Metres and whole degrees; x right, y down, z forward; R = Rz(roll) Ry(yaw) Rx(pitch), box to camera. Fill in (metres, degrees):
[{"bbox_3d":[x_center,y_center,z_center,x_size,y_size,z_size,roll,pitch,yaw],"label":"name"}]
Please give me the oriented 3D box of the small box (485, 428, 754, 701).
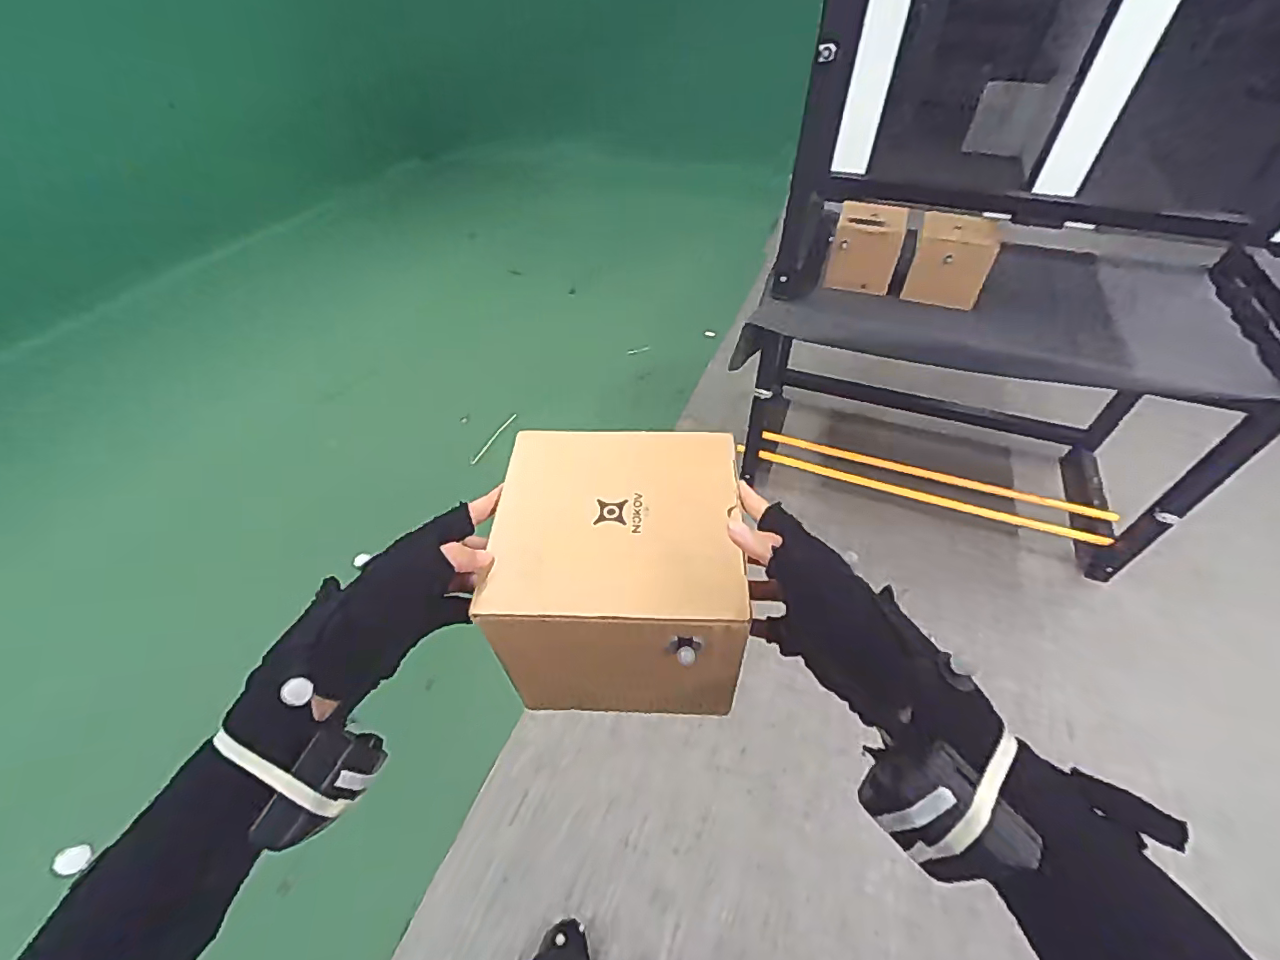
[{"bbox_3d":[-0.008,0.074,0.454,0.179,0.176,0.168,1,49,2],"label":"small box"}]
